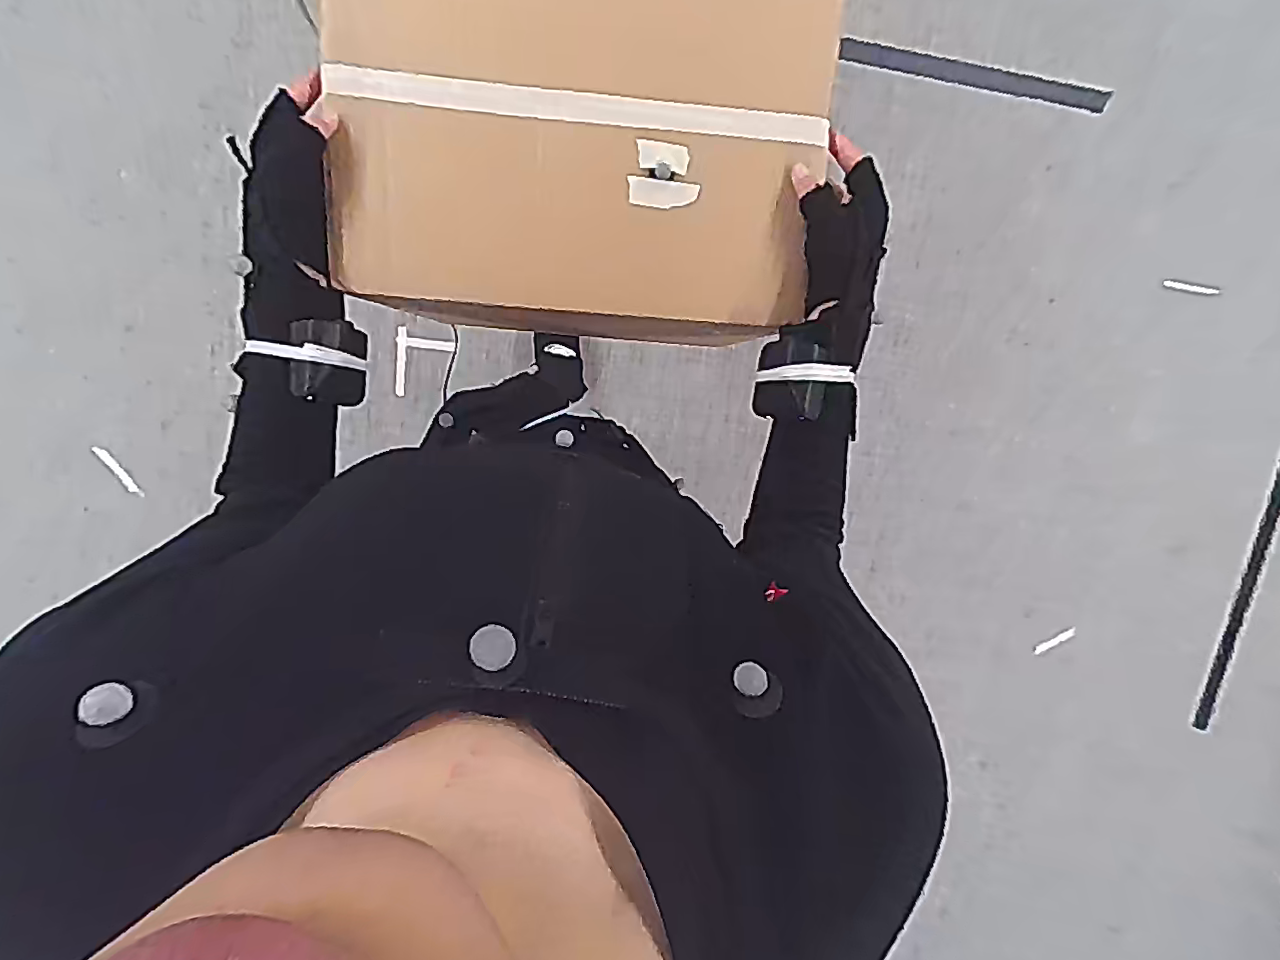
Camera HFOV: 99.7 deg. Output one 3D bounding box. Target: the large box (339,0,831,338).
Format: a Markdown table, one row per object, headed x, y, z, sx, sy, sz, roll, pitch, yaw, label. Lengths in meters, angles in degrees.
| x | y | z | sx | sy | sz | roll | pitch | yaw | label |
| --- | --- | --- | --- | --- | --- | --- | --- | --- | --- |
| -0.056 | -0.336 | 0.596 | 0.408 | 0.320 | 0.320 | 3 | 101 | -5 | large box |
